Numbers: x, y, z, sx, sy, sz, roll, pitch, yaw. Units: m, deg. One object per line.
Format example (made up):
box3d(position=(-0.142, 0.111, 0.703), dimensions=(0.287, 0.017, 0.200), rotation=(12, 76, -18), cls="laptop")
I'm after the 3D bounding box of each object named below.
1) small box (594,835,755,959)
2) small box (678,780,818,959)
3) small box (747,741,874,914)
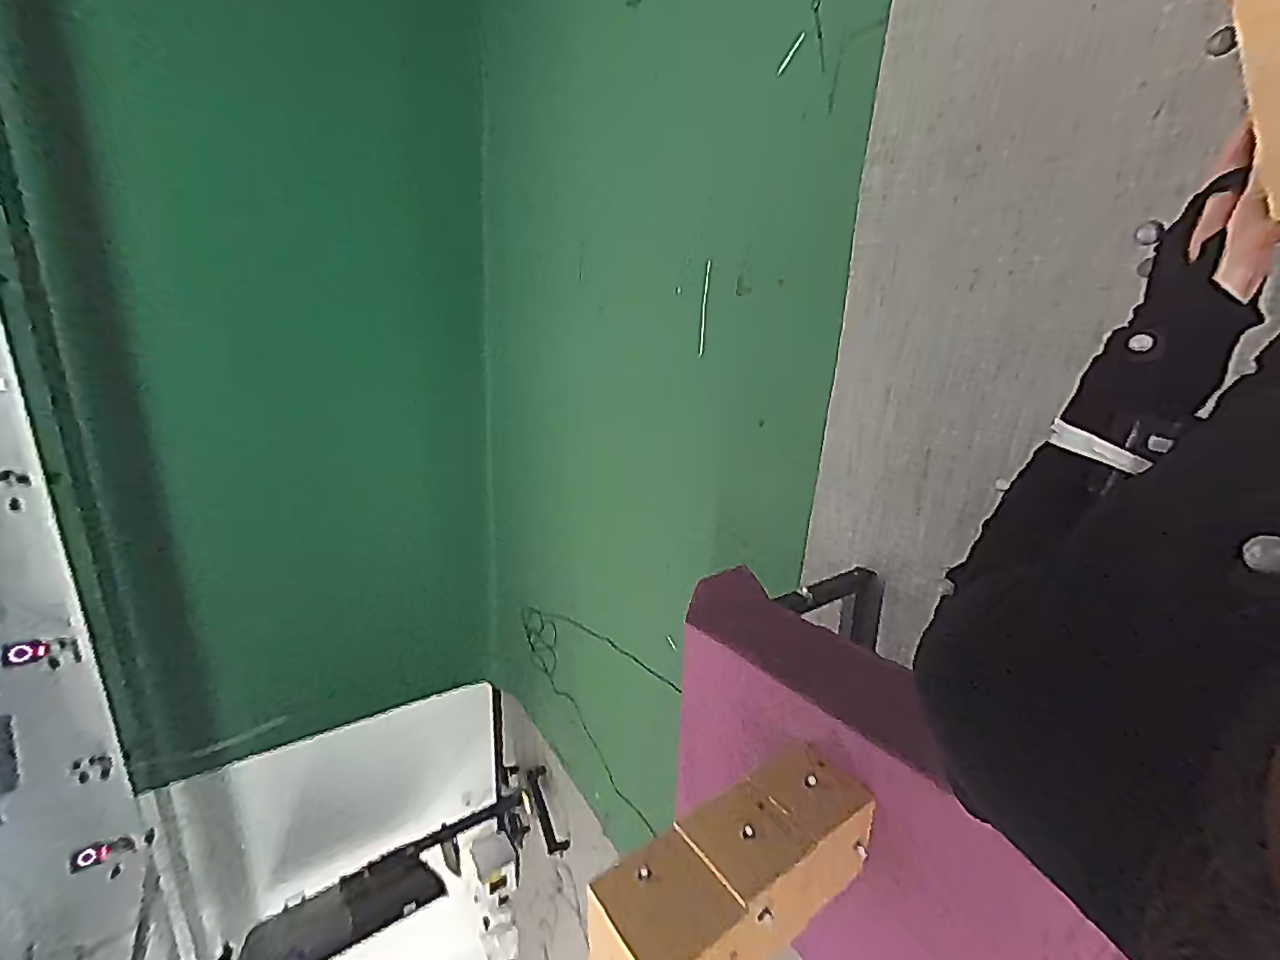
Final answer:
box3d(position=(0.046, 0.679, 0.812), dimensions=(0.179, 0.176, 0.168), rotation=(21, 116, 51), cls="small box")
box3d(position=(0.177, 0.651, 0.906), dimensions=(0.168, 0.176, 0.179), rotation=(22, 116, 51), cls="small box")
box3d(position=(0.309, 0.627, 1.002), dimensions=(0.168, 0.176, 0.179), rotation=(22, 115, 51), cls="small box")
